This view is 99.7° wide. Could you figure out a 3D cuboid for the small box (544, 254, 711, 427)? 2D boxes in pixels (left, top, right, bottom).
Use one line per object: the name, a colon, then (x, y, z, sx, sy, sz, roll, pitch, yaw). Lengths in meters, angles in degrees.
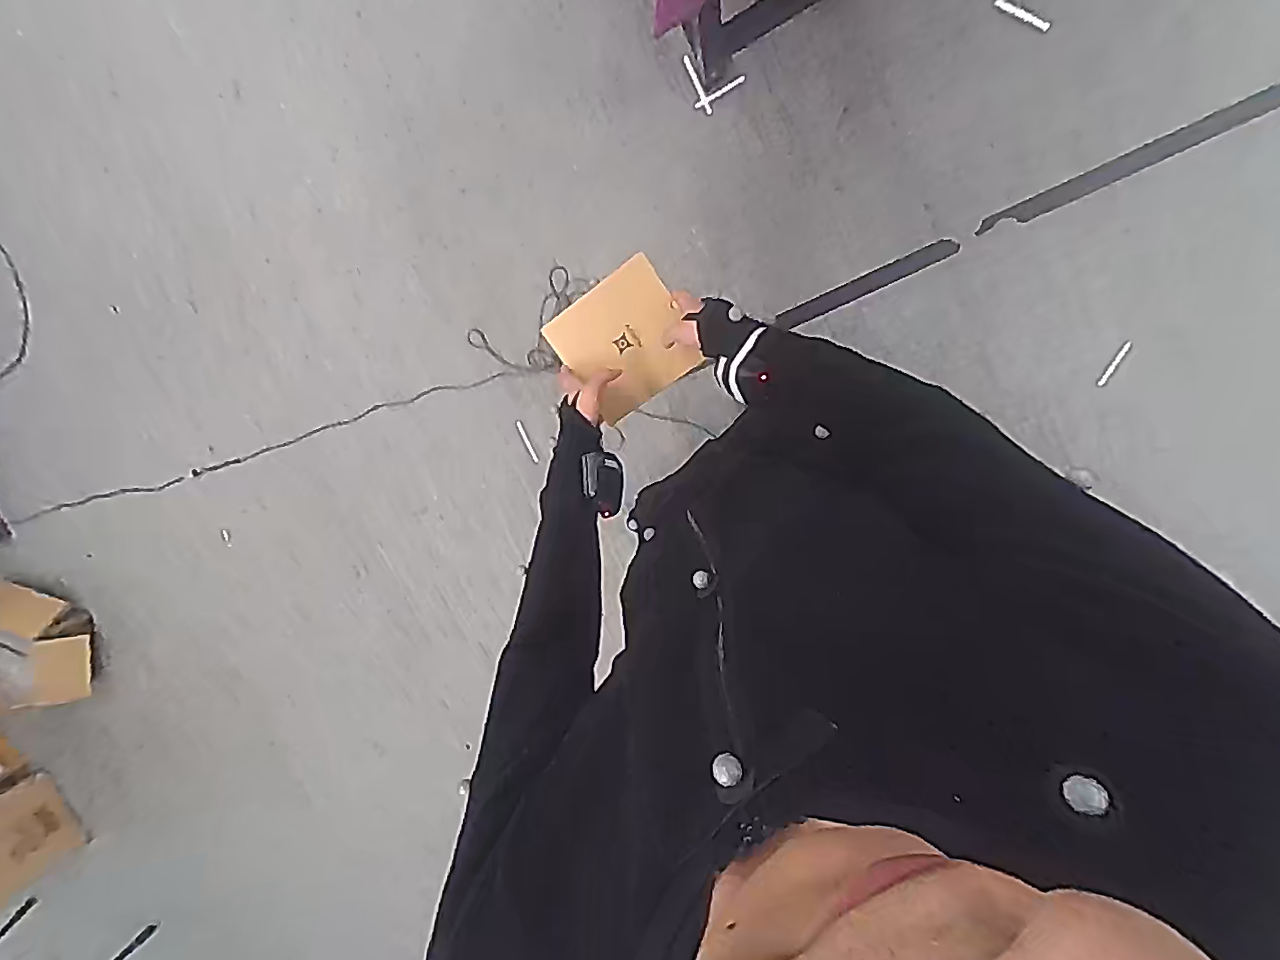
small box: (-0.010, -0.202, 0.806, 0.179, 0.176, 0.168, -34, 99, 11)
